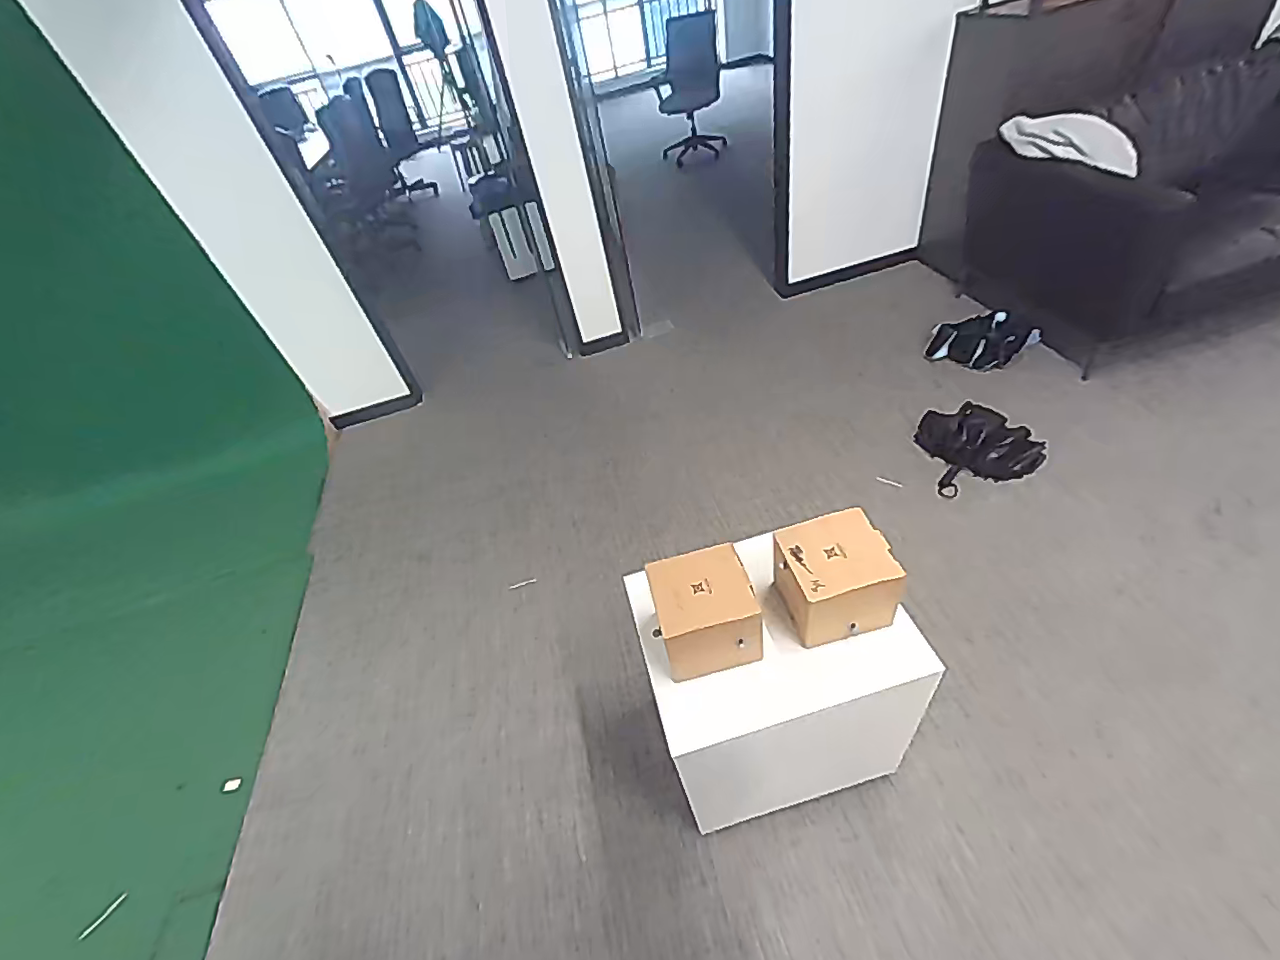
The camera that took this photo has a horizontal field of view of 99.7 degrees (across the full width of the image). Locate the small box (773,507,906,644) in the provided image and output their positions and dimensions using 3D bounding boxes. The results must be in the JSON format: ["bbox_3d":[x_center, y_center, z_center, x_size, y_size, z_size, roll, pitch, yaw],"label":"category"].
[{"bbox_3d":[0.361,0.181,1.016,0.179,0.176,0.168,-15,45,-3],"label":"small box"}]

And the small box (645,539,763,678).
[{"bbox_3d":[0.119,0.241,1.011,0.179,0.176,0.168,-15,44,-2],"label":"small box"}]
